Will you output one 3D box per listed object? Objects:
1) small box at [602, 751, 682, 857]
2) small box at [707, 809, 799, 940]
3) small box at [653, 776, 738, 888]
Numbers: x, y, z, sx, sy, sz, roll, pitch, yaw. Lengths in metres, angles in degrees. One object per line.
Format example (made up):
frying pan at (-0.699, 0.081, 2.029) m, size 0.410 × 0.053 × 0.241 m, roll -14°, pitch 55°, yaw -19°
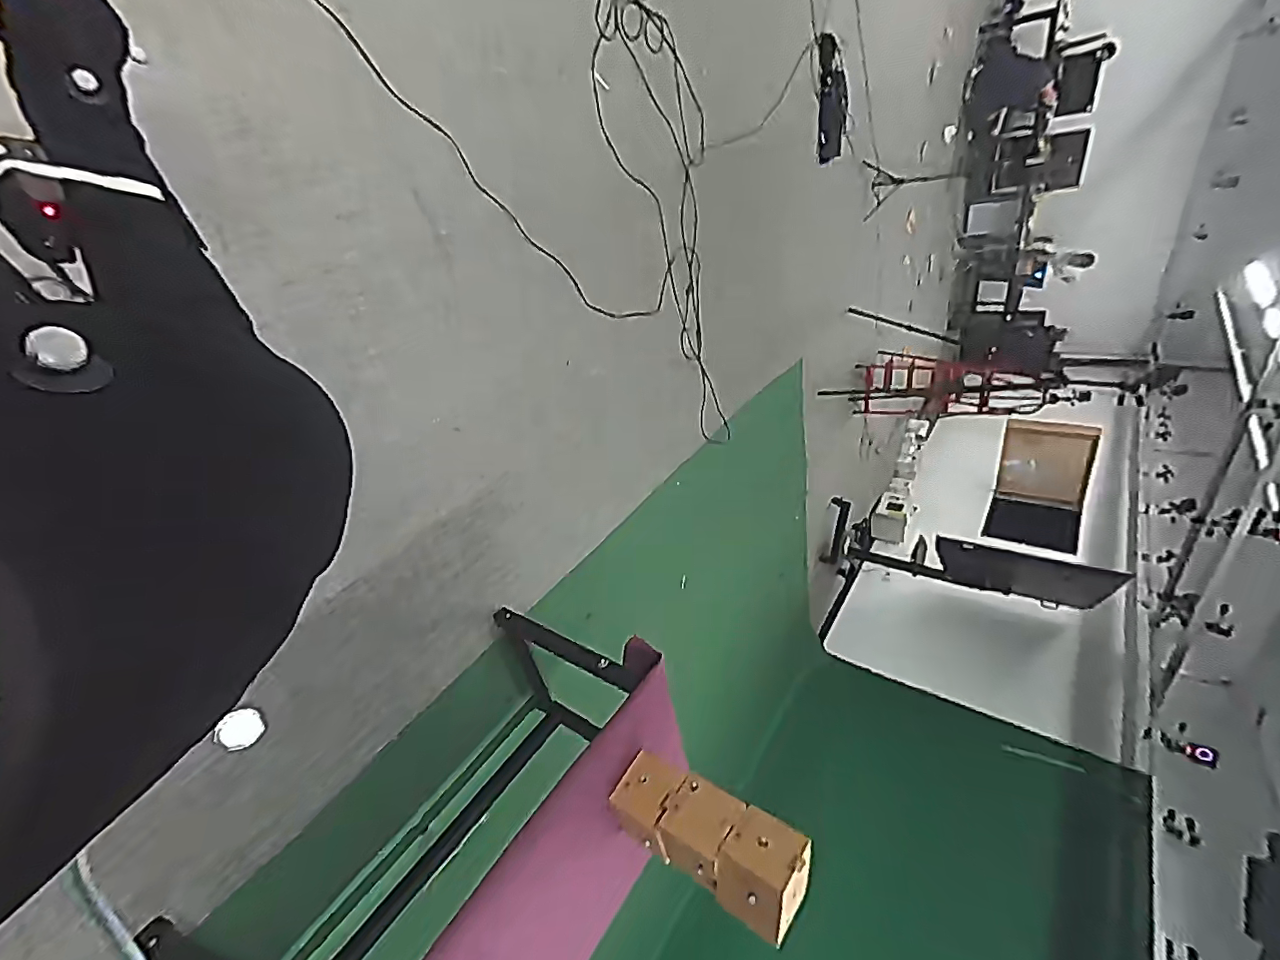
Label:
small box at (0.019, 0.914, 1.539) m, size 0.168 × 0.176 × 0.179 m, roll -43°, pitch 132°, yaw -37°
small box at (0.280, 0.963, 1.345) m, size 0.168 × 0.176 × 0.179 m, roll -18°, pitch 114°, yaw -48°
small box at (0.150, 0.929, 1.441) m, size 0.168 × 0.176 × 0.179 m, roll -38°, pitch 130°, yaw -39°
